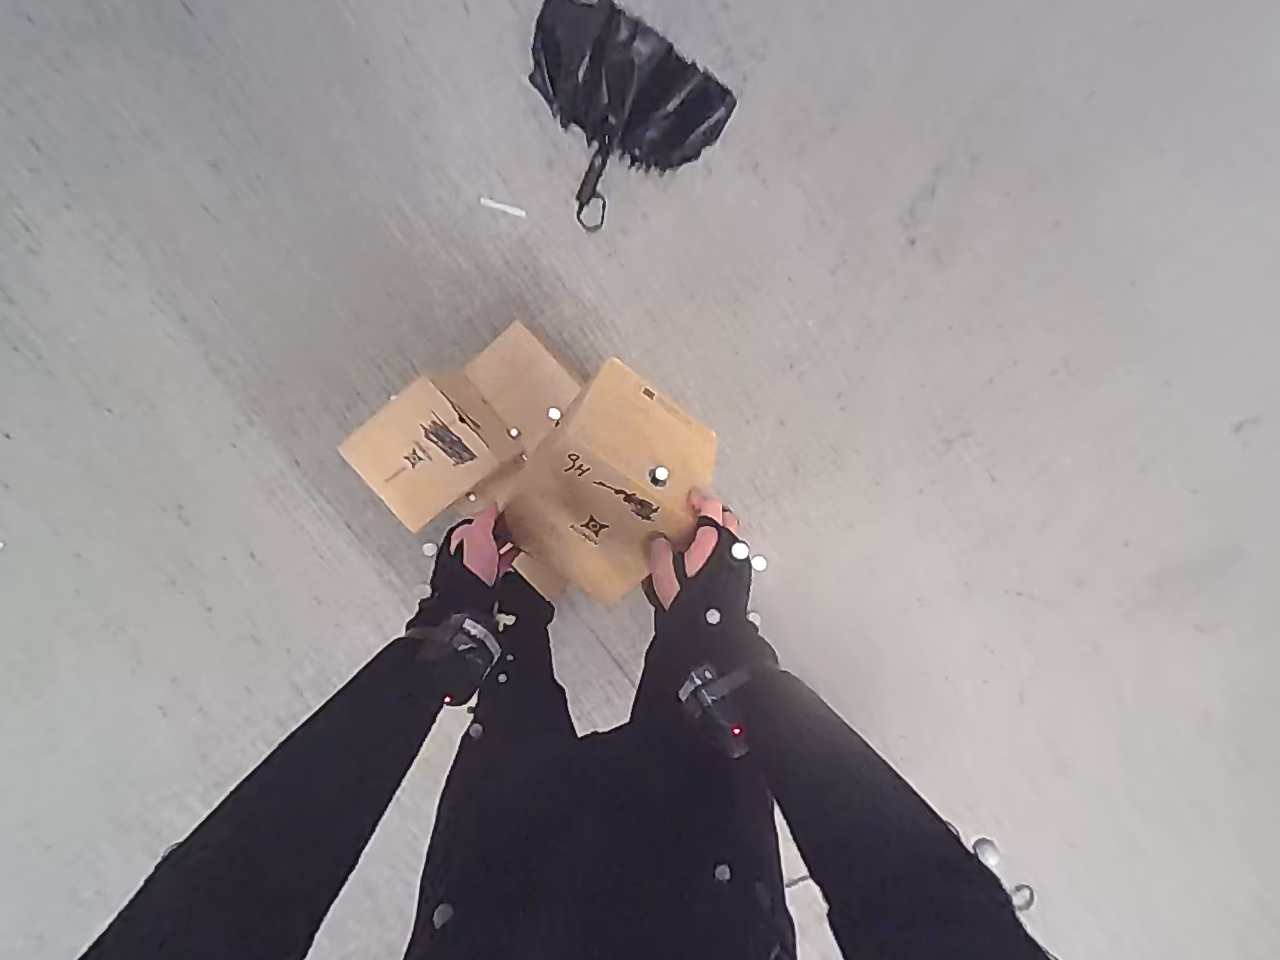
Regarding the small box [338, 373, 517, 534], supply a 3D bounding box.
[{"bbox_3d":[-0.311,-0.048,0.840,0.179,0.176,0.168,-37,97,6],"label":"small box"}]
